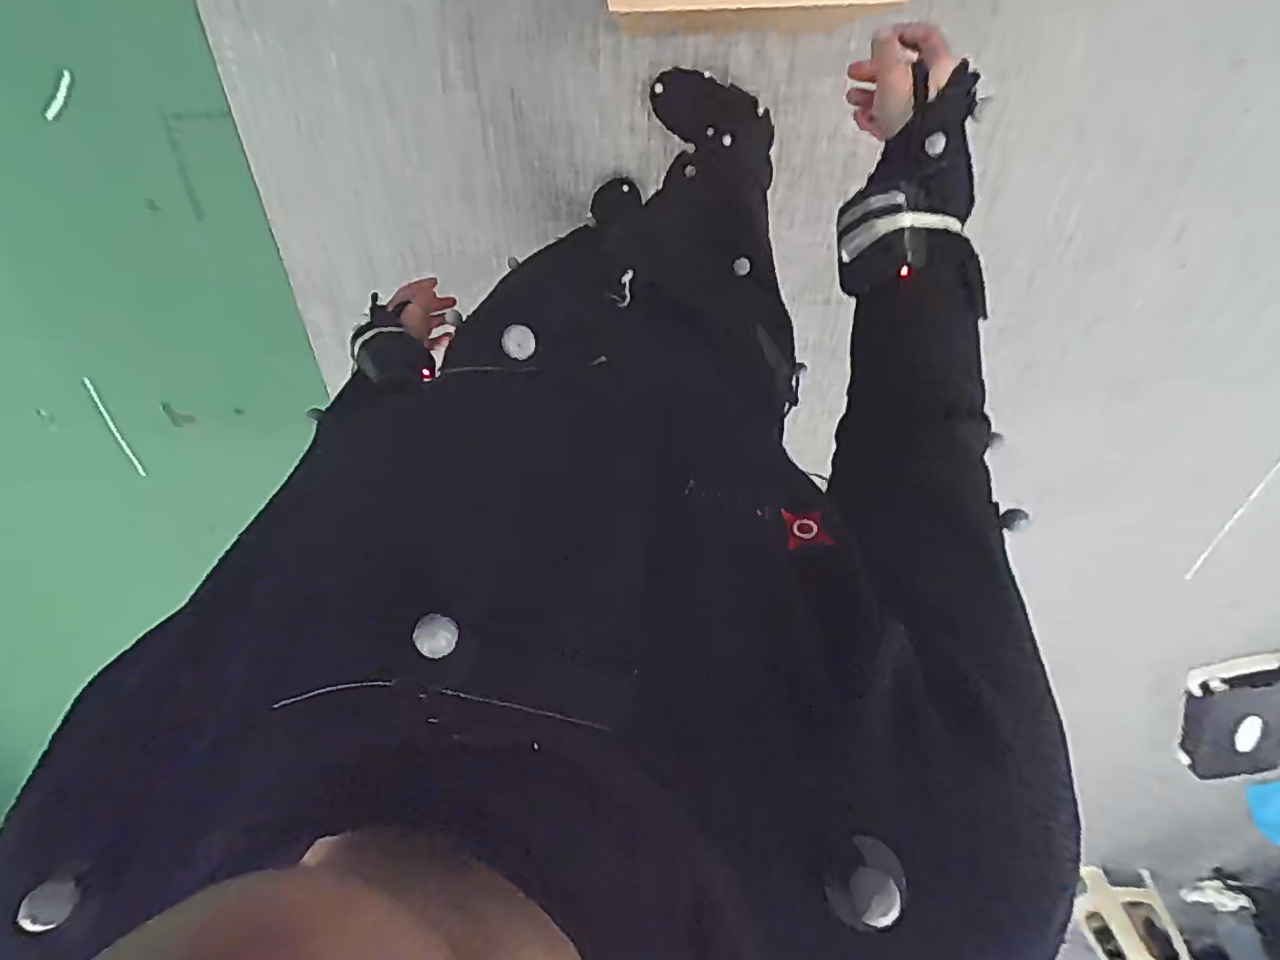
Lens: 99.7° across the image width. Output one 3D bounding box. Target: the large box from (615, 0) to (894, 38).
[{"bbox_3d":[0.159,-0.846,0.761,0.408,0.320,0.320,-1,126,2],"label":"large box"}]
